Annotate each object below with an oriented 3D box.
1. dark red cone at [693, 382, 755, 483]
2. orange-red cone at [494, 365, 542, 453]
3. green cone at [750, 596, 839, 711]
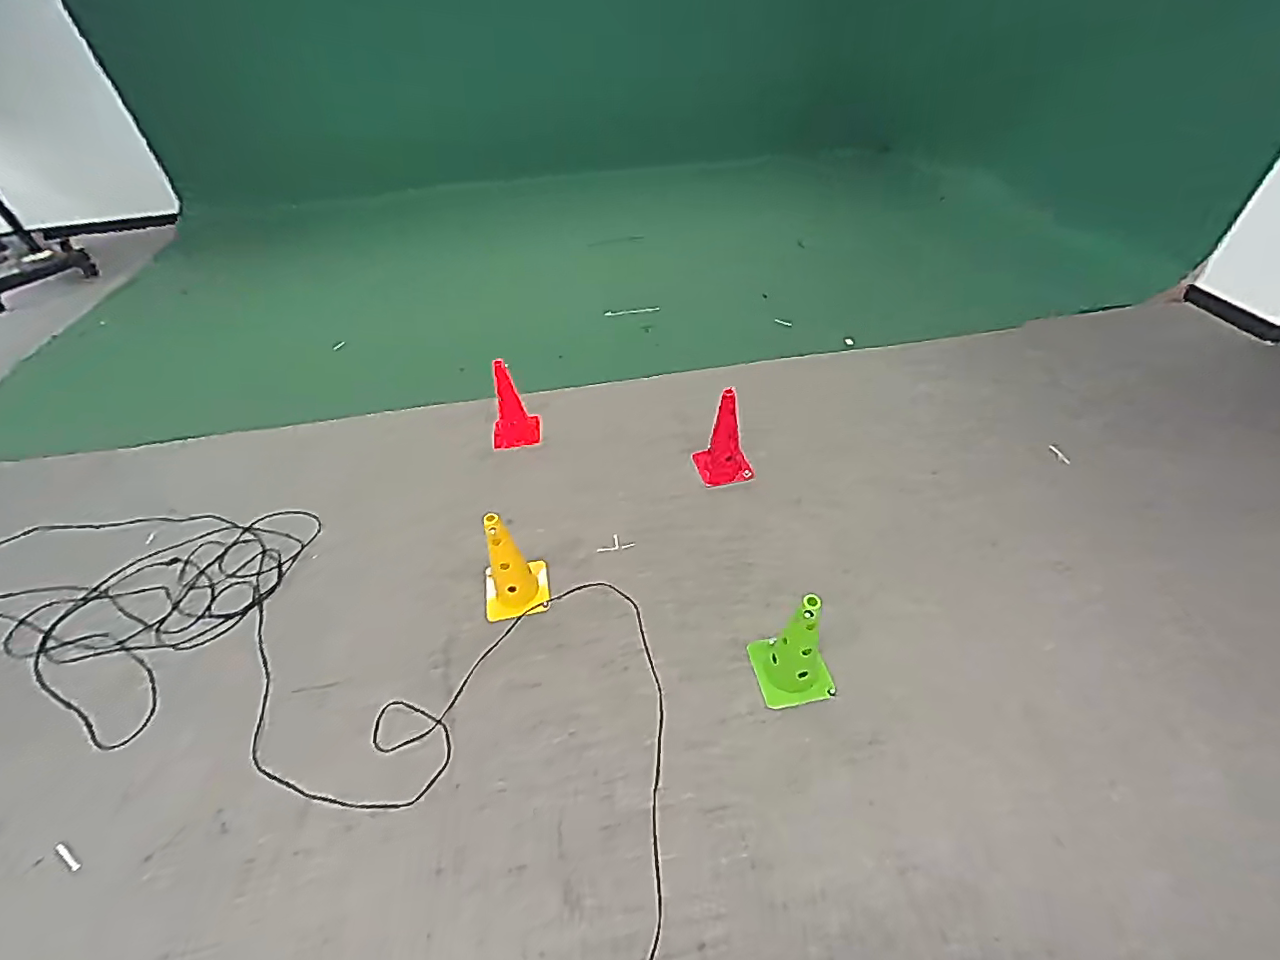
[{"bbox_3d":[0.316,-0.186,1.996,0.202,0.394,0.201,-13,44,-8],"label":"dark red cone"},{"bbox_3d":[-0.538,-0.311,2.227,0.198,0.360,0.199,-9,45,-3],"label":"orange-red cone"},{"bbox_3d":[0.420,0.415,1.409,0.202,0.368,0.200,-11,44,-4],"label":"green cone"}]
